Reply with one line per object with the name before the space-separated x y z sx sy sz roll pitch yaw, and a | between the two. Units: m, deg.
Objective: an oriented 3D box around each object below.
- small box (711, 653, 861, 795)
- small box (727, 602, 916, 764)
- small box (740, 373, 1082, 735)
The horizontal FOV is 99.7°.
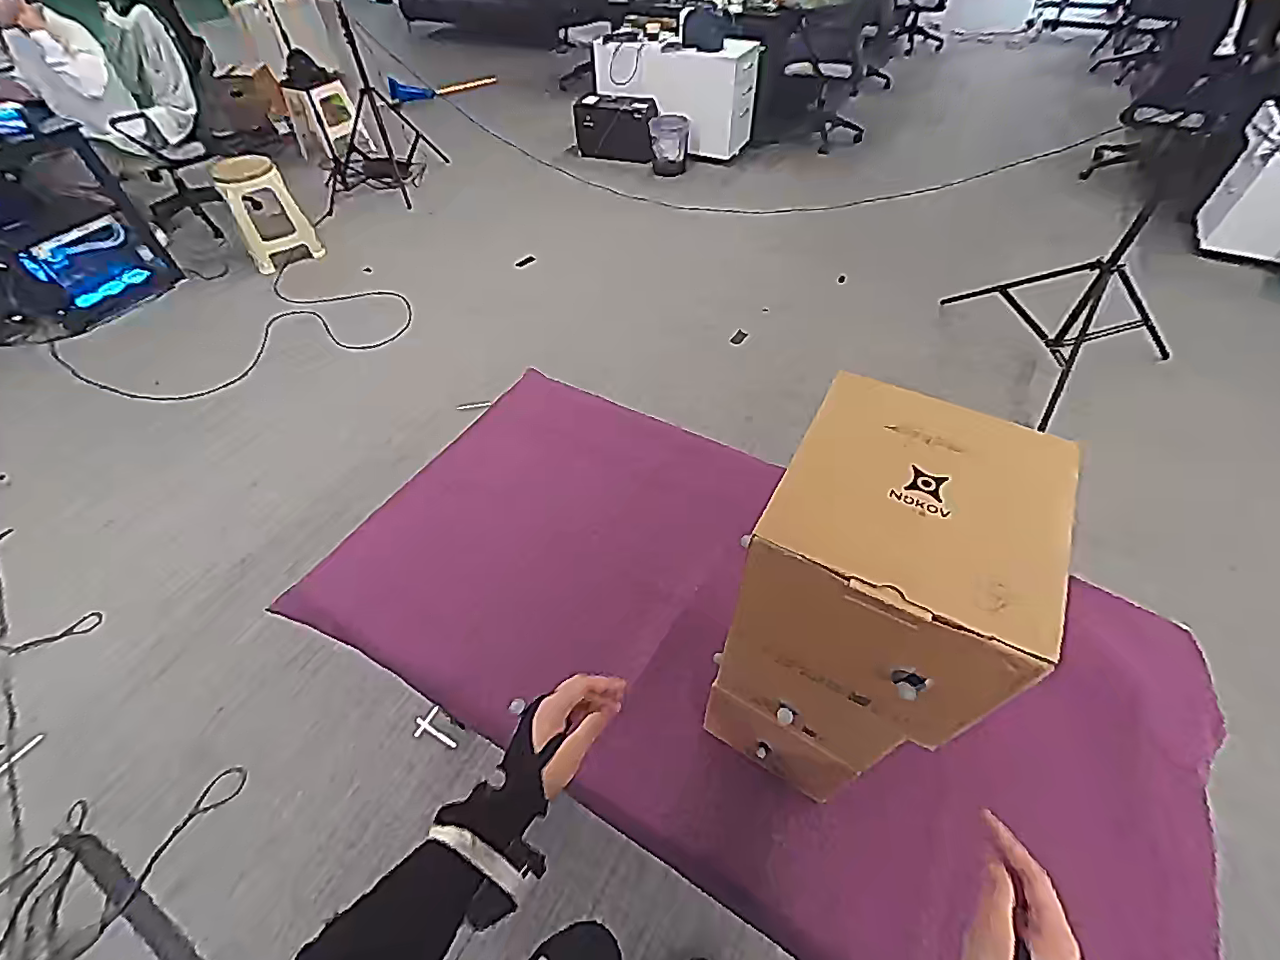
small box | 0.197 0.251 0.666 0.168 0.176 0.179 26 55 21
small box | 0.198 0.145 0.541 0.168 0.176 0.179 25 56 22
small box | 0.184 0.056 0.404 0.168 0.176 0.179 23 54 19
